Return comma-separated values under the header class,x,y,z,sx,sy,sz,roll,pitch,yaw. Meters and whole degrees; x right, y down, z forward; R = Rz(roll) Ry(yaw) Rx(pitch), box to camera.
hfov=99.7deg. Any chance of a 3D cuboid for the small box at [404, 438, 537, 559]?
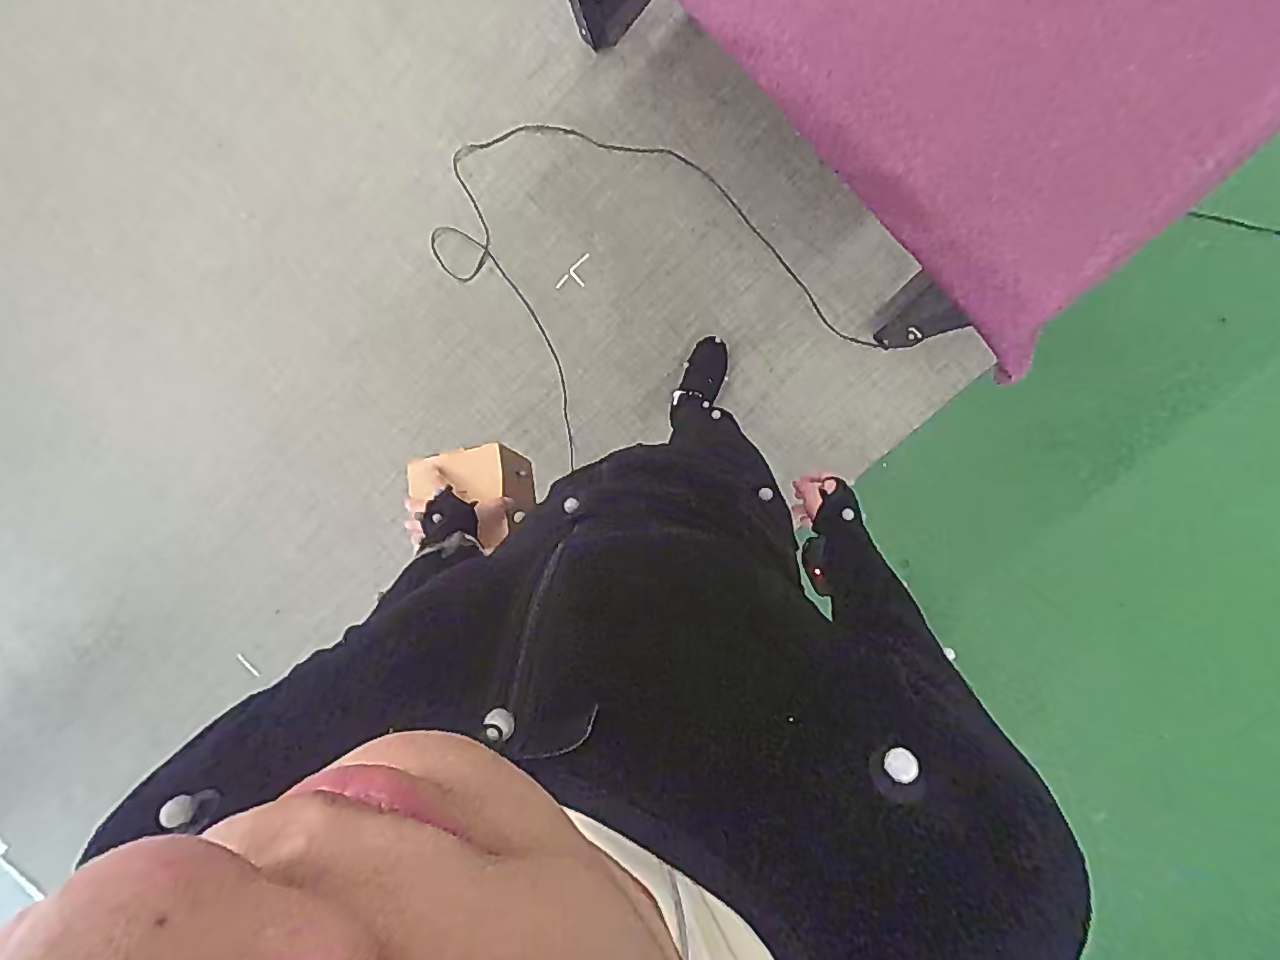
class,x,y,z,sx,sy,sz,roll,pitch,yaw
small box,-0.291,0.041,0.953,0.168,0.176,0.179,-10,80,6
